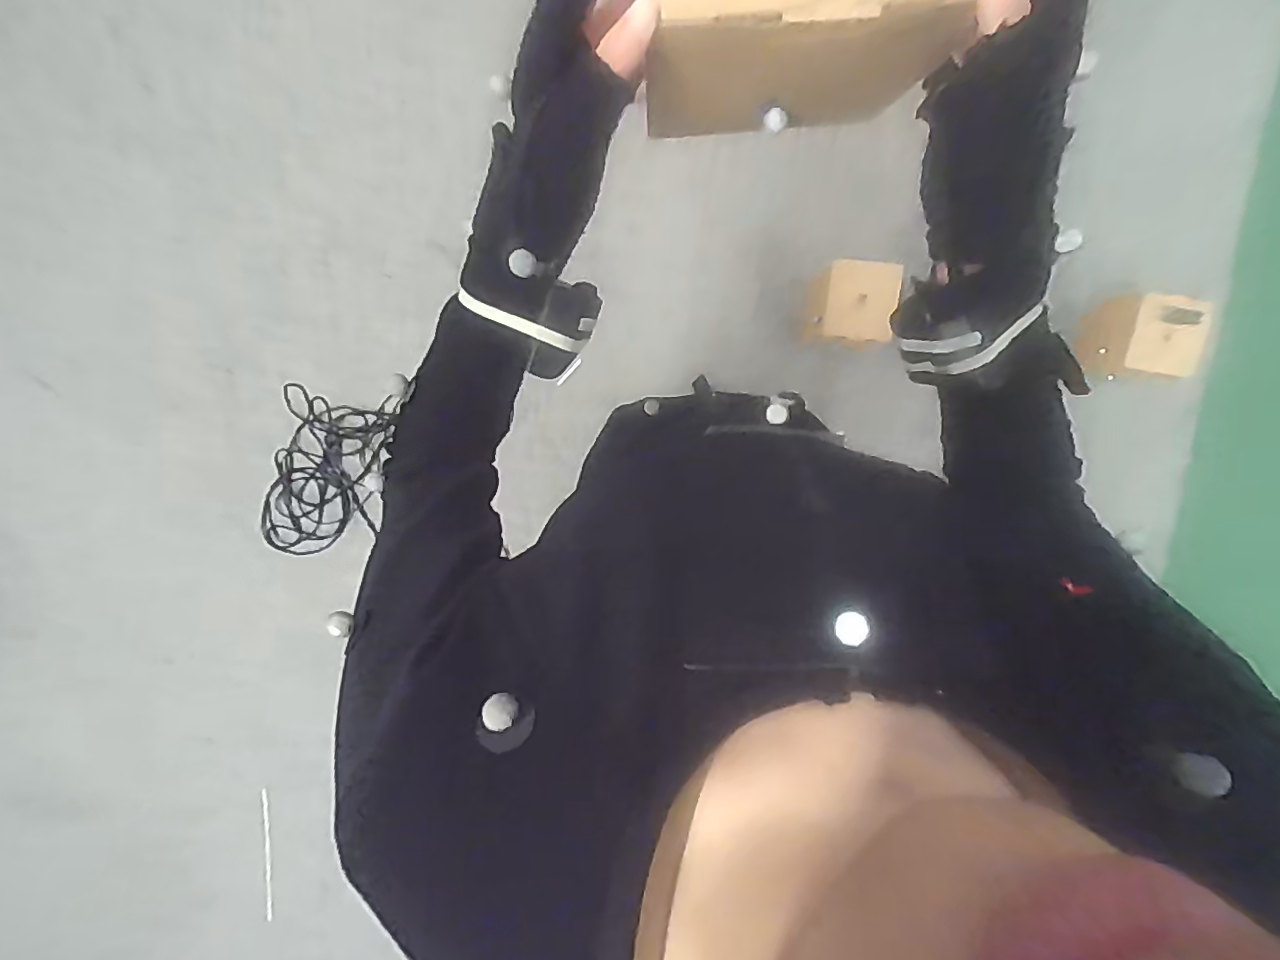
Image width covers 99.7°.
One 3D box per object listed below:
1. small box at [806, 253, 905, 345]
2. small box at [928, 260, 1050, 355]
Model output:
[{"bbox_3d":[0.513,-0.432,1.311,0.168,0.176,0.179,6,99,1],"label":"small box"},{"bbox_3d":[0.827,-0.406,1.304,0.168,0.176,0.179,12,98,0],"label":"small box"}]
